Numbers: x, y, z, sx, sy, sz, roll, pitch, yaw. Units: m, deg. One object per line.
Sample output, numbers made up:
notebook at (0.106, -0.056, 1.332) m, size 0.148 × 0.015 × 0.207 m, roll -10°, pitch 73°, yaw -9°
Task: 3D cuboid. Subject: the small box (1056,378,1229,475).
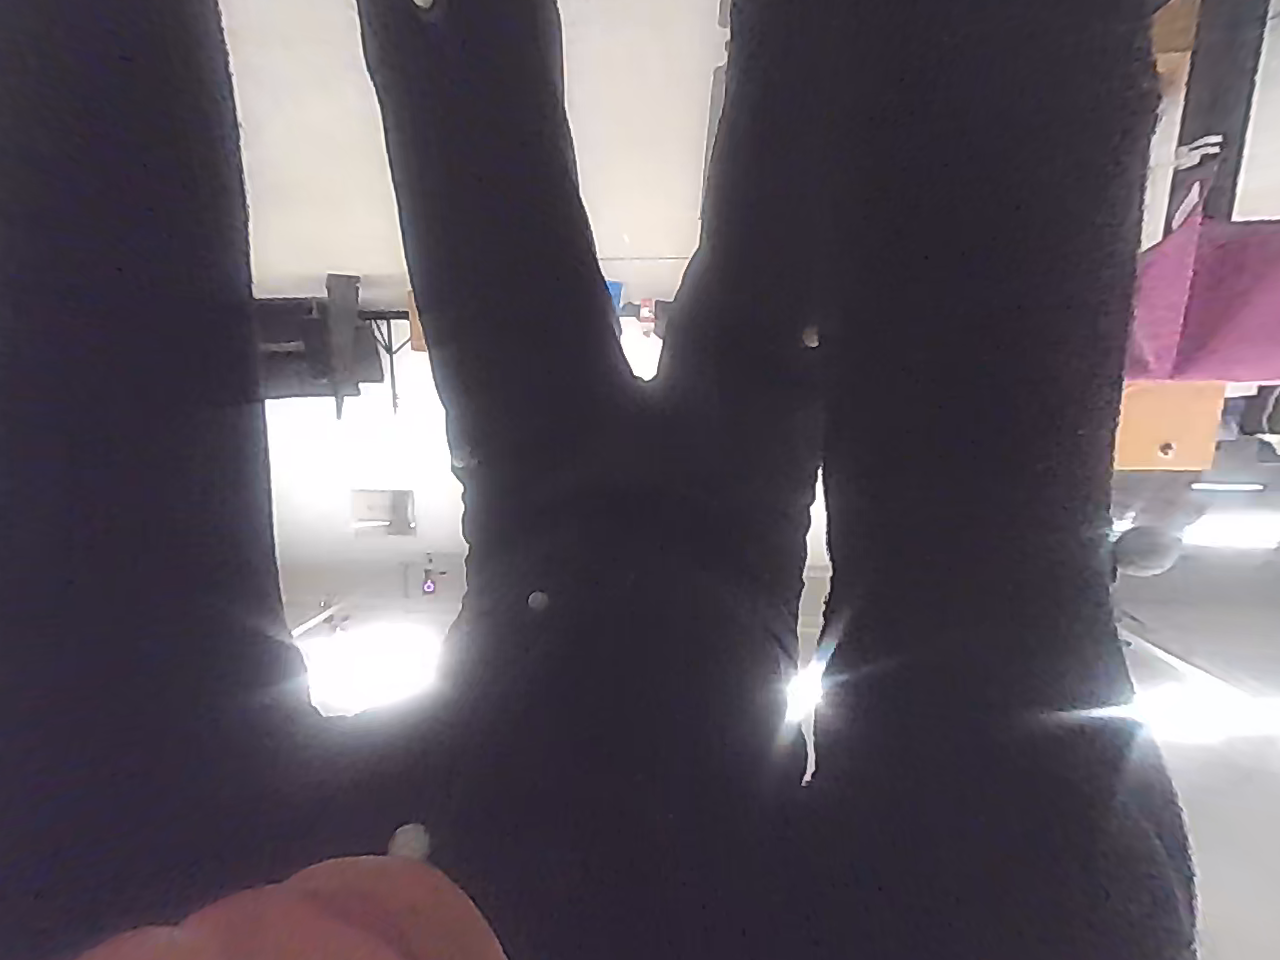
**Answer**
small box at (0.948, -0.107, 1.029) m, size 0.179 × 0.176 × 0.168 m, roll 1°, pitch -170°, yaw 5°
